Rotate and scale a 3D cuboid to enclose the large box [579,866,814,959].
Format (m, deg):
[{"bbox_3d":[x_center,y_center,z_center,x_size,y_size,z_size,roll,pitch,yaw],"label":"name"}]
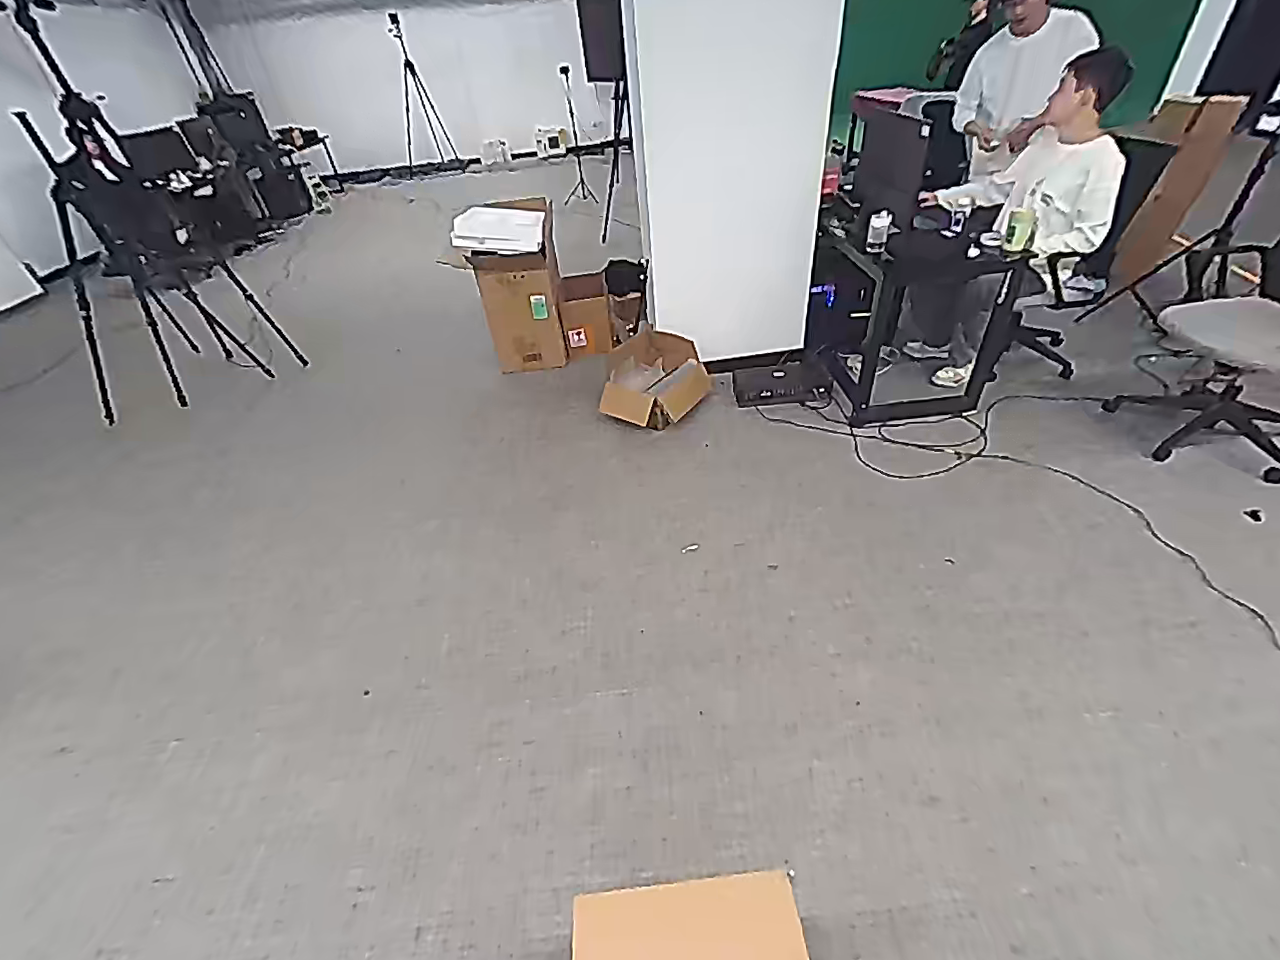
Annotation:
[{"bbox_3d":[0.109,0.960,0.981,0.408,0.320,0.320,-7,39,-1],"label":"large box"}]
